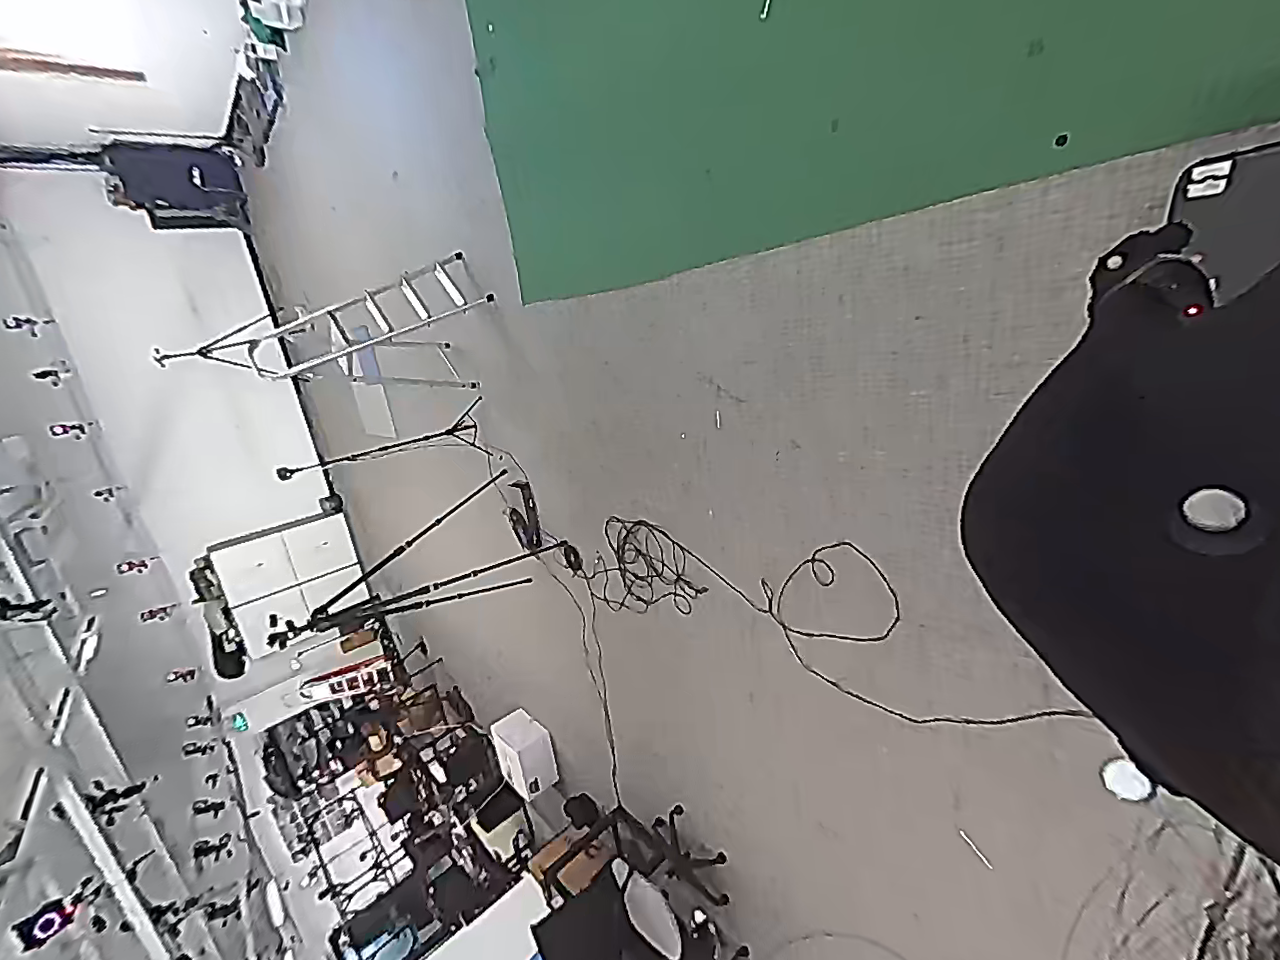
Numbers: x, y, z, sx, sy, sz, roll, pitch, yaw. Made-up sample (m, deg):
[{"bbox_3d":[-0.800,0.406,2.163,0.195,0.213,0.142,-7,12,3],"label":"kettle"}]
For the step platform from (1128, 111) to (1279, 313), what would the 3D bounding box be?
[{"bbox_3d":[1.136,-0.423,0.736,0.684,0.204,0.286,8,114,49],"label":"step platform"}]
